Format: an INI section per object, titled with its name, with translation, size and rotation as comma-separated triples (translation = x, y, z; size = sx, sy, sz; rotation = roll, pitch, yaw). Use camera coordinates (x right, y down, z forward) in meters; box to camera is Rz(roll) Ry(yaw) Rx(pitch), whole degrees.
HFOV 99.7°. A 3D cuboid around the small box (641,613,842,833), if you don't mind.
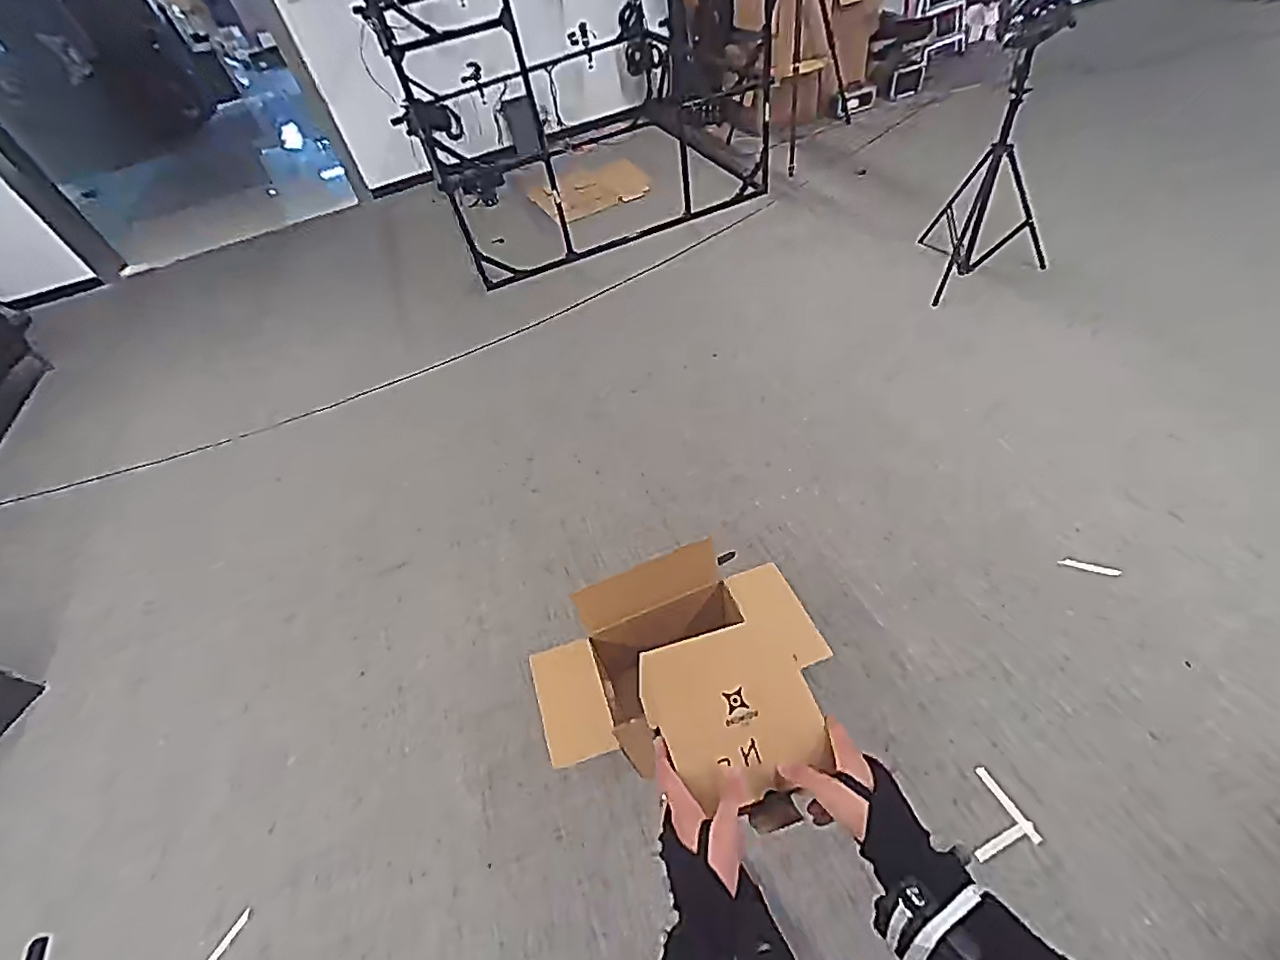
[small box]
translation = 0.100, 0.288, 0.636
size = 0.168, 0.176, 0.179
rotation = -14, 55, -10
